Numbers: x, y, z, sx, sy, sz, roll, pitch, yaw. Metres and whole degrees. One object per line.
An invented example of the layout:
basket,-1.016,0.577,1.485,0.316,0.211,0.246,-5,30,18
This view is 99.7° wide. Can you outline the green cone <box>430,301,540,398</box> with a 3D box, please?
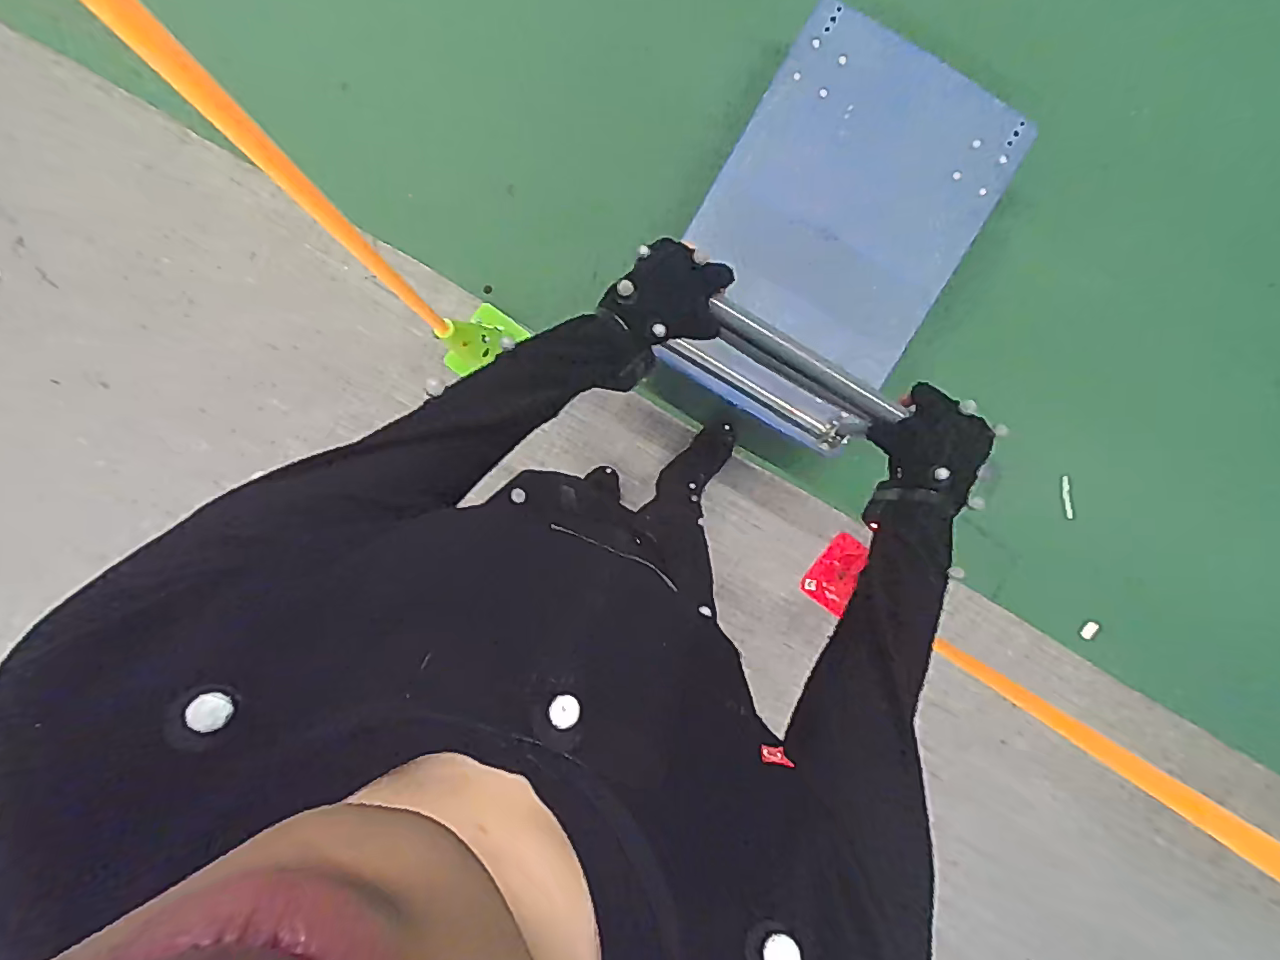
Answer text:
green cone,-0.397,-0.335,1.268,0.202,0.368,0.200,35,94,-1
